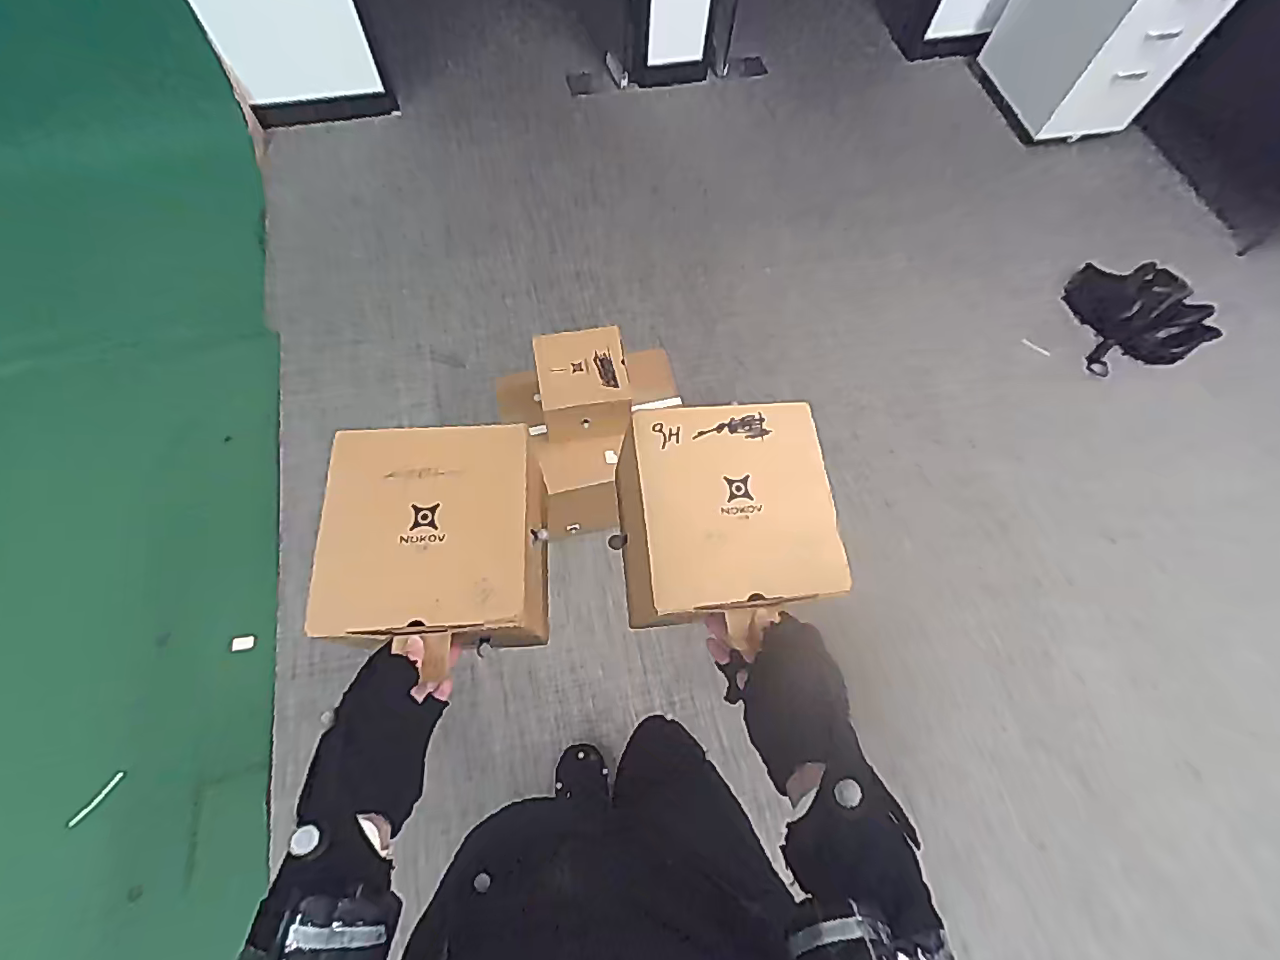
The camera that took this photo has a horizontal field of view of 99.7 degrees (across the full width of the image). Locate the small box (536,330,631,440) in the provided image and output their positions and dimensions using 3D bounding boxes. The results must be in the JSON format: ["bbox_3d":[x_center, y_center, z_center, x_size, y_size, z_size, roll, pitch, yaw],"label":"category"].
[{"bbox_3d":[-0.119,-0.194,1.129,0.179,0.176,0.168,-6,71,-7],"label":"small box"}]
